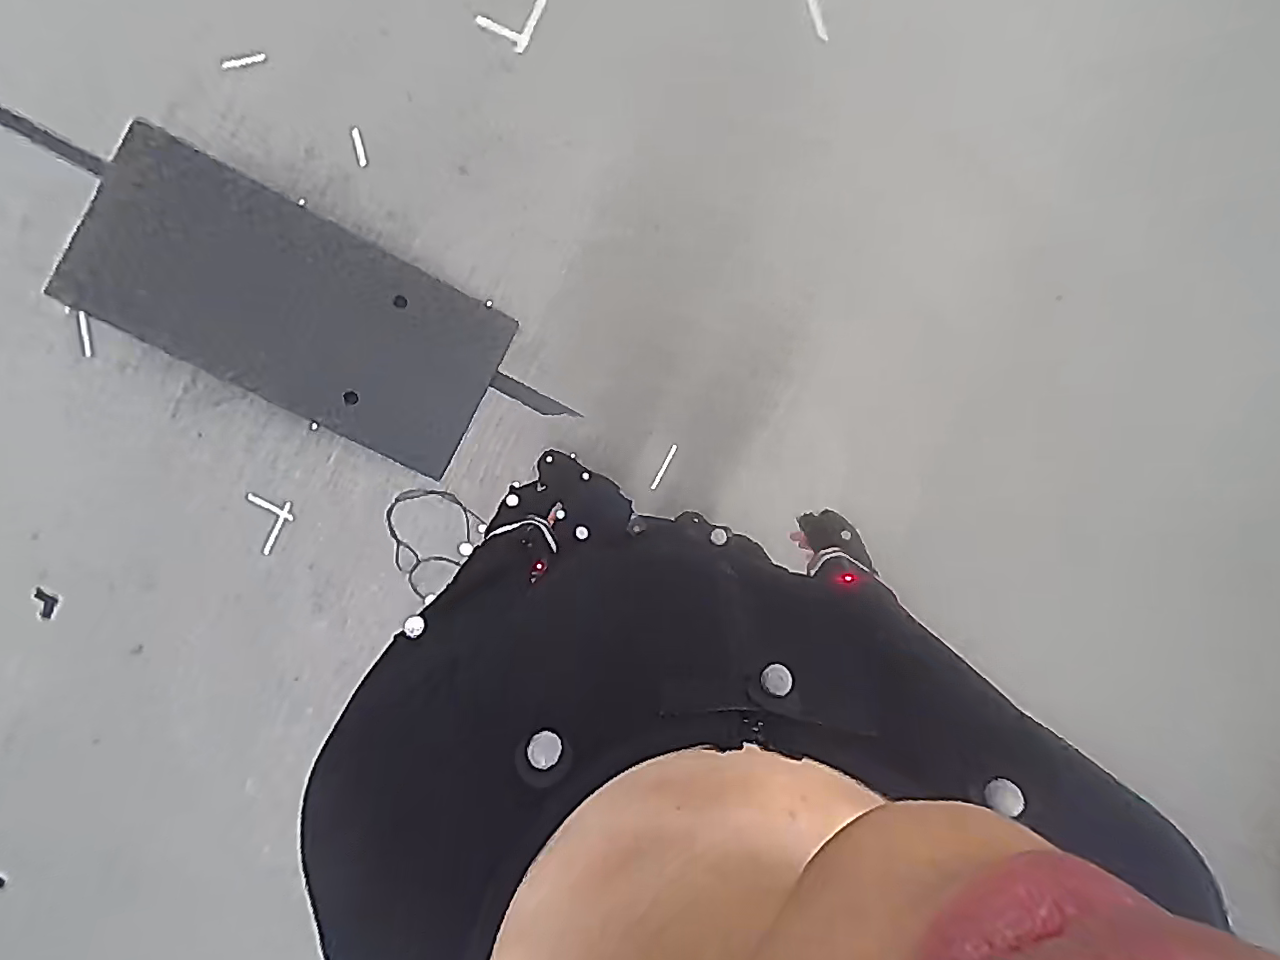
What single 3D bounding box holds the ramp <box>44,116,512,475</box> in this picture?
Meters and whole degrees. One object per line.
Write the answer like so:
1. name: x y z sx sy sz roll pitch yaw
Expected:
1. ramp: -0.886 -0.444 1.394 0.991 0.206 0.509 25 89 -1
